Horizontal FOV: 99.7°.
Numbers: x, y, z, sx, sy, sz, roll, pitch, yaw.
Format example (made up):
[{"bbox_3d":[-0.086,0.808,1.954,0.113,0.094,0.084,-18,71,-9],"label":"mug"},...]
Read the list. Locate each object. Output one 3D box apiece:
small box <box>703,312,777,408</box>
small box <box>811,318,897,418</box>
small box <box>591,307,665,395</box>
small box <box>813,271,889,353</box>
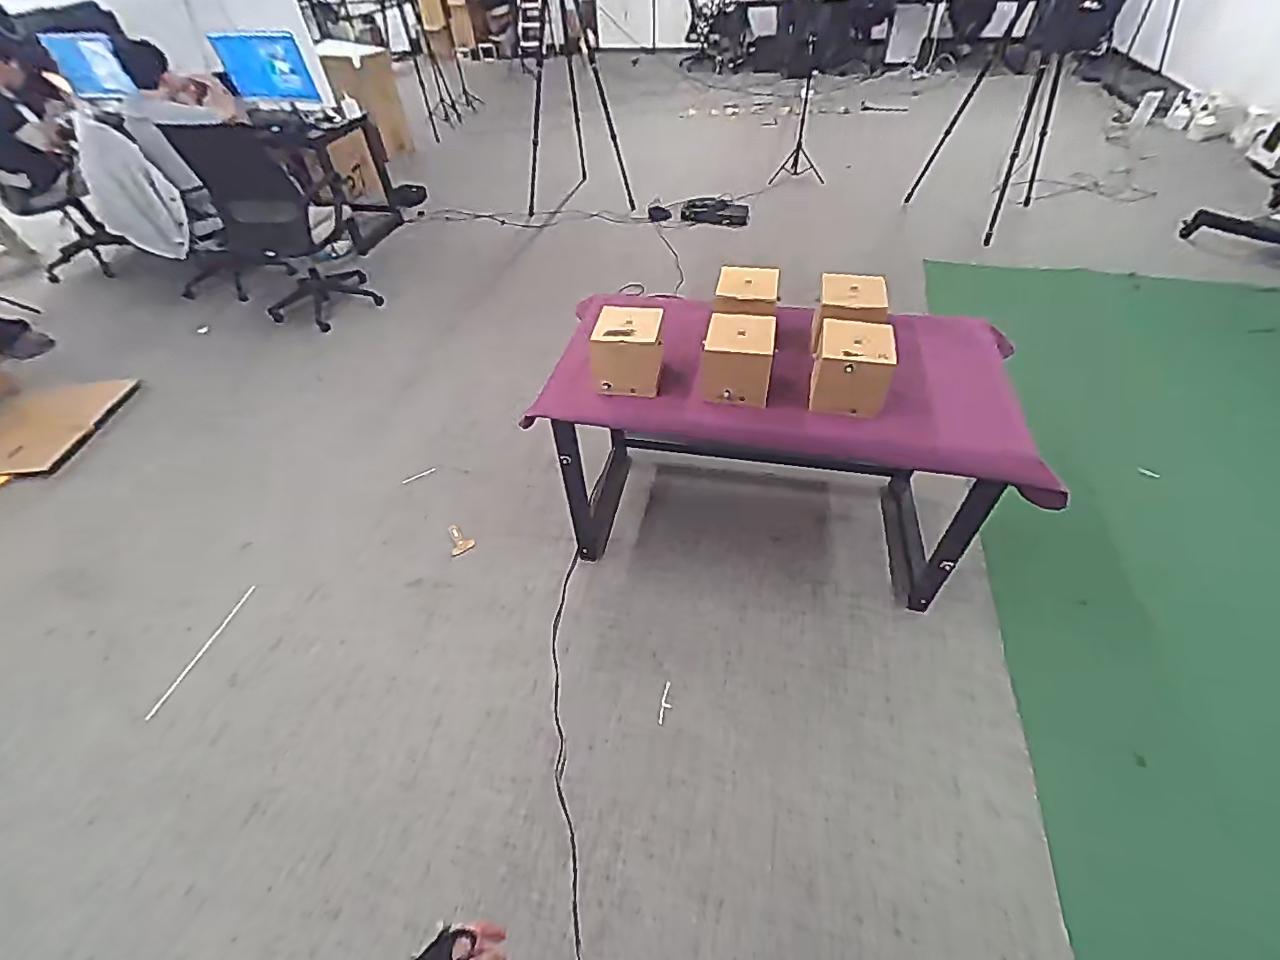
[{"bbox_3d":[0.256,-0.312,1.399,0.168,0.176,0.179,7,48,12],"label":"small box"},{"bbox_3d":[0.526,-0.281,1.346,0.168,0.176,0.179,8,48,13],"label":"small box"},{"bbox_3d":[-0.025,-0.343,1.445,0.168,0.176,0.179,5,46,8],"label":"small box"},{"bbox_3d":[0.582,-0.460,1.508,0.168,0.176,0.179,8,49,12],"label":"small box"}]
